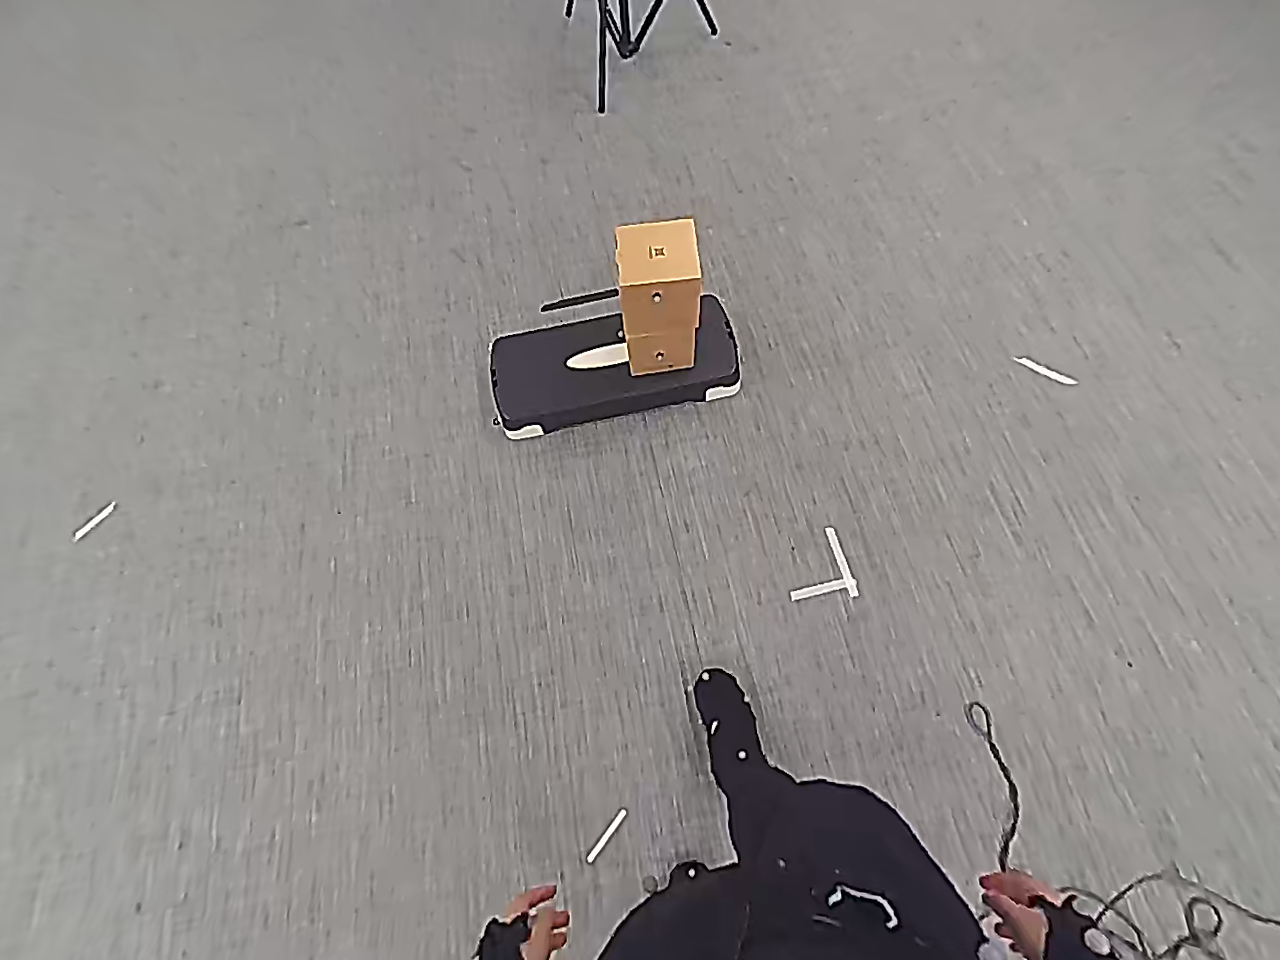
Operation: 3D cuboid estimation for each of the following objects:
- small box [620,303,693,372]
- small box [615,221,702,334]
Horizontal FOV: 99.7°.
[{"bbox_3d":[0.042,-0.389,1.373,0.168,0.176,0.179,-8,68,1],"label":"small box"},{"bbox_3d":[0.042,-0.450,1.222,0.179,0.176,0.168,-5,69,3],"label":"small box"}]
